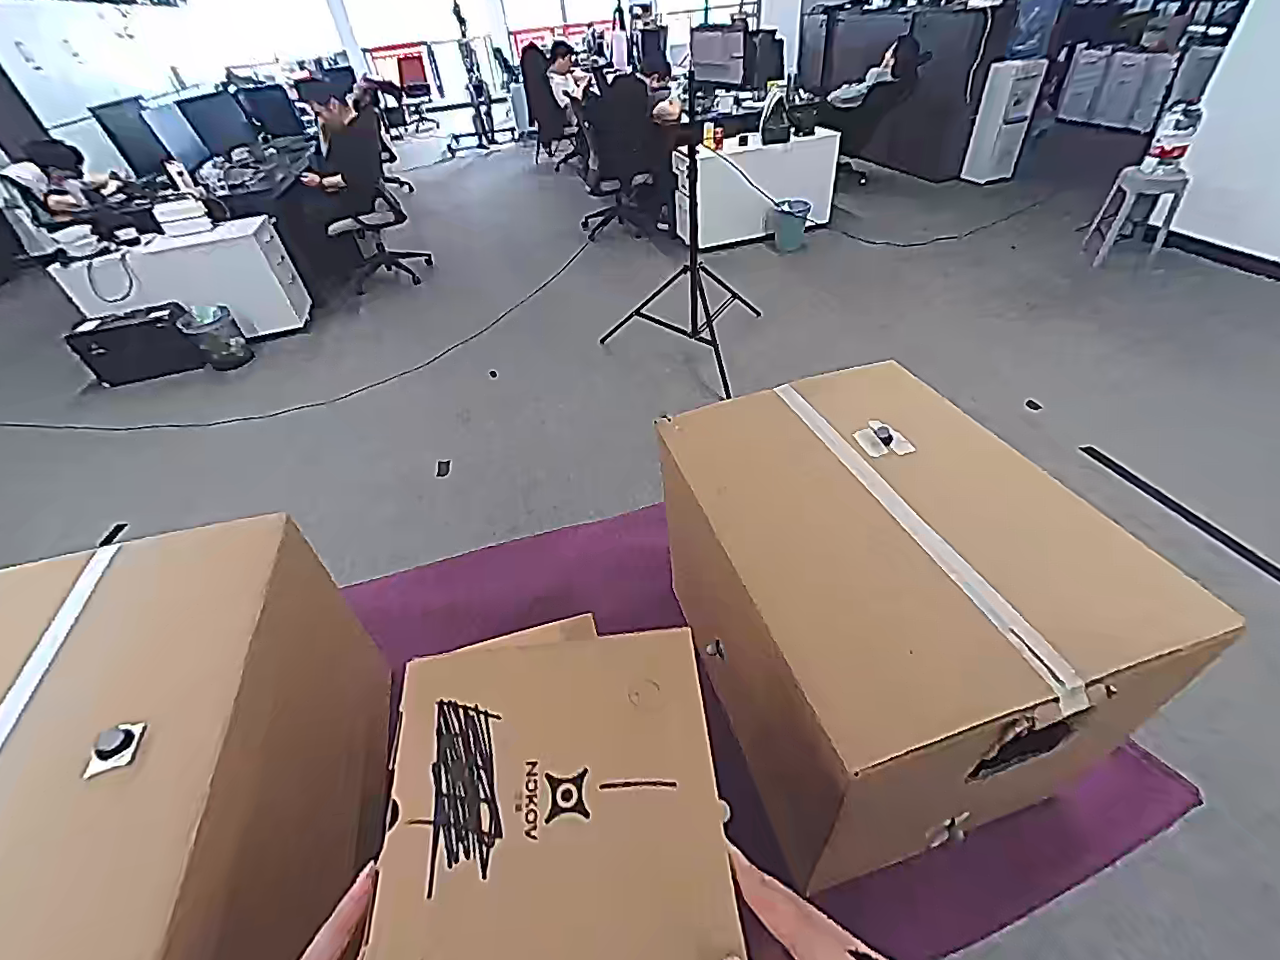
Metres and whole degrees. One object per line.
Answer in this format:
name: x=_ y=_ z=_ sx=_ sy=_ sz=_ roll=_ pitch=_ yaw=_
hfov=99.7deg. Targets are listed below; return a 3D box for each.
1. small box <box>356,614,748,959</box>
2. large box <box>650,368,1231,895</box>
small box: x=-0.042 y=0.203 z=0.342 sx=0.179 sy=0.176 sz=0.168 roll=-6 pitch=53 yaw=-3
large box: x=0.230 y=0.131 z=0.593 sx=0.320 sy=0.320 sz=0.408 roll=-15 pitch=41 yaw=-10
